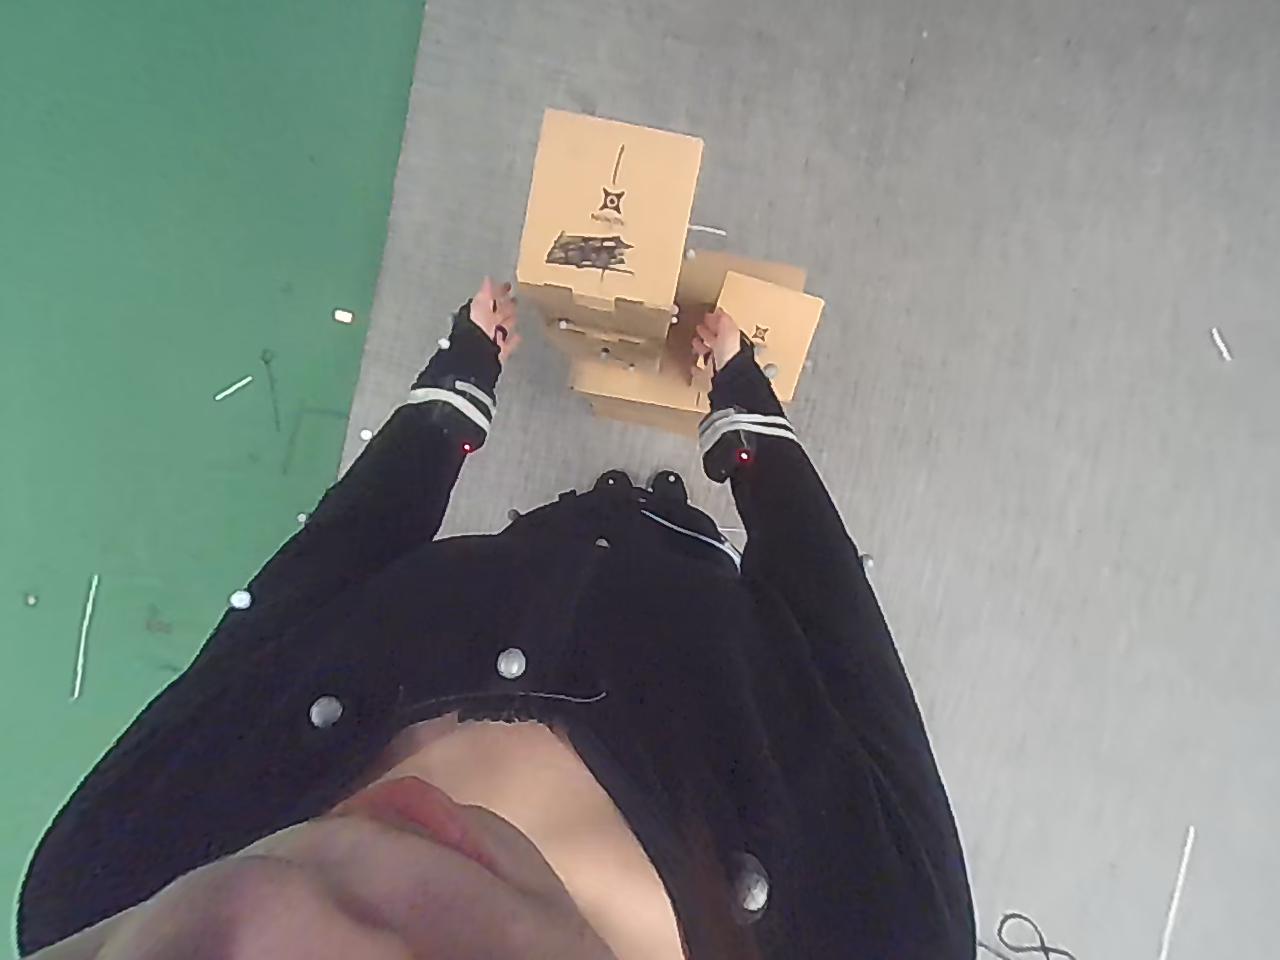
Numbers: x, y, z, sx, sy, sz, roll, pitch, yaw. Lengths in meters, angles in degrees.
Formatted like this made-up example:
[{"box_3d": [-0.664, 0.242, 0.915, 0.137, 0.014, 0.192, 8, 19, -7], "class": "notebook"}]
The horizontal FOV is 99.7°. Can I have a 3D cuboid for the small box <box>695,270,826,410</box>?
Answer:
[{"box_3d": [0.199, -0.234, 0.947, 0.168, 0.176, 0.179, 18, 93, 3], "class": "small box"}]

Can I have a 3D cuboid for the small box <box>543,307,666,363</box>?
[{"box_3d": [-0.033, -0.278, 0.791, 0.168, 0.176, 0.179, 11, 94, -1], "class": "small box"}]

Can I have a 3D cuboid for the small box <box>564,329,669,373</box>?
[{"box_3d": [-0.027, -0.297, 0.954, 0.168, 0.176, 0.179, 13, 92, -1], "class": "small box"}]

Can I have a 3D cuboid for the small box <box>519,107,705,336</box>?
[{"box_3d": [-0.029, -0.278, 0.626, 0.168, 0.176, 0.179, 11, 92, -1], "class": "small box"}]
